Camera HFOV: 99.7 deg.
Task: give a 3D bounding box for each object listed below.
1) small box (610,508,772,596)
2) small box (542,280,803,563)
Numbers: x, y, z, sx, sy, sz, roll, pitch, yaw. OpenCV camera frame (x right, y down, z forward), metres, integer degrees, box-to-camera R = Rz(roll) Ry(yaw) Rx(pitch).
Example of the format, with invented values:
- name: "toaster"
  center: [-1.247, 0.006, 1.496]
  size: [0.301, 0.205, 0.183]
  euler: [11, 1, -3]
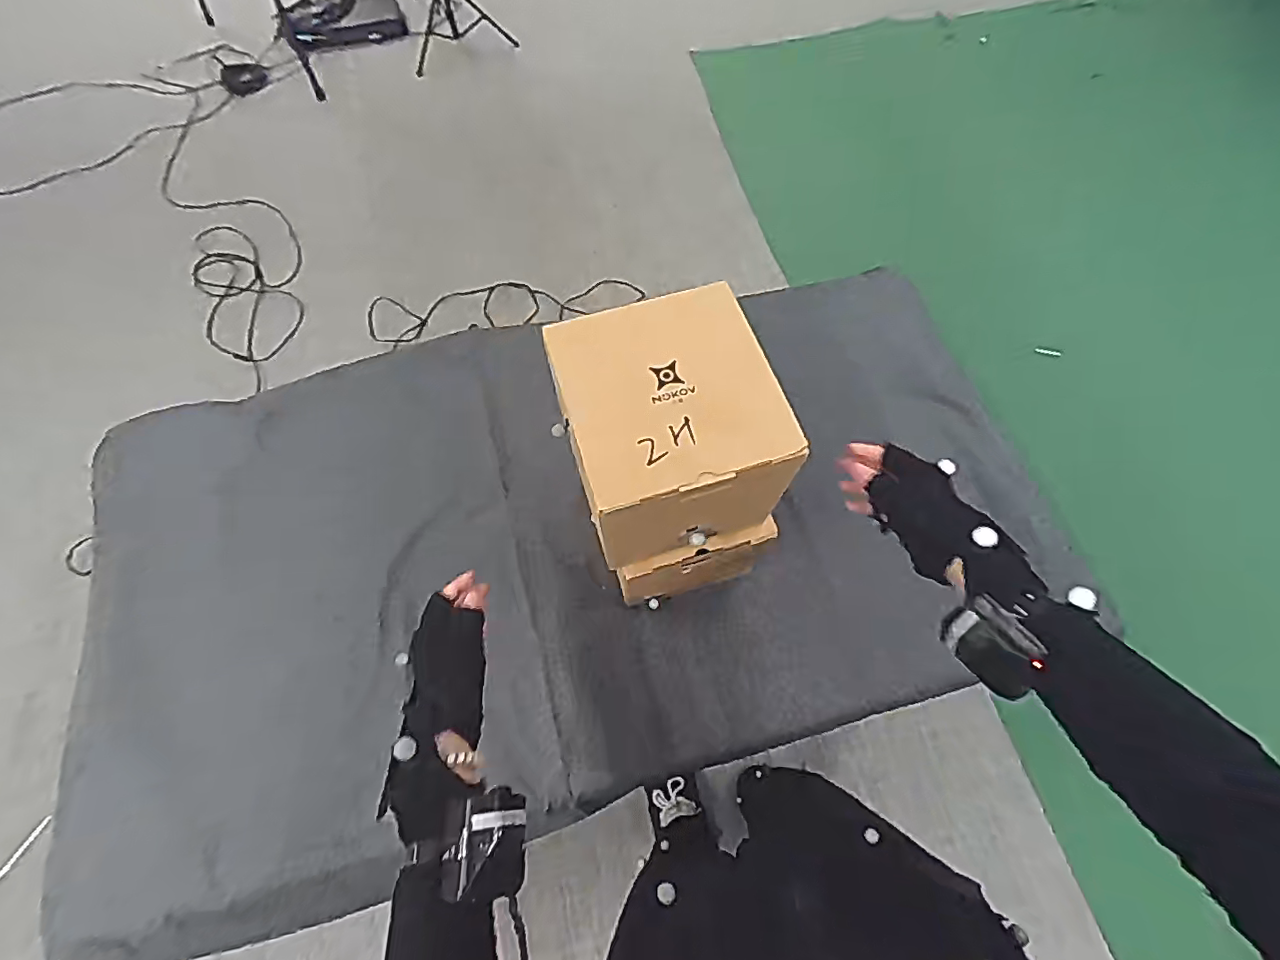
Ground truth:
- name: "small box"
  center: [0.036, 0.029, 0.643]
  size: [0.168, 0.176, 0.179]
  euler: [-15, 67, -6]
- name: "small box"
  center: [0.019, -0.044, 0.496]
  size: [0.168, 0.176, 0.179]
  euler: [-17, 69, -6]
